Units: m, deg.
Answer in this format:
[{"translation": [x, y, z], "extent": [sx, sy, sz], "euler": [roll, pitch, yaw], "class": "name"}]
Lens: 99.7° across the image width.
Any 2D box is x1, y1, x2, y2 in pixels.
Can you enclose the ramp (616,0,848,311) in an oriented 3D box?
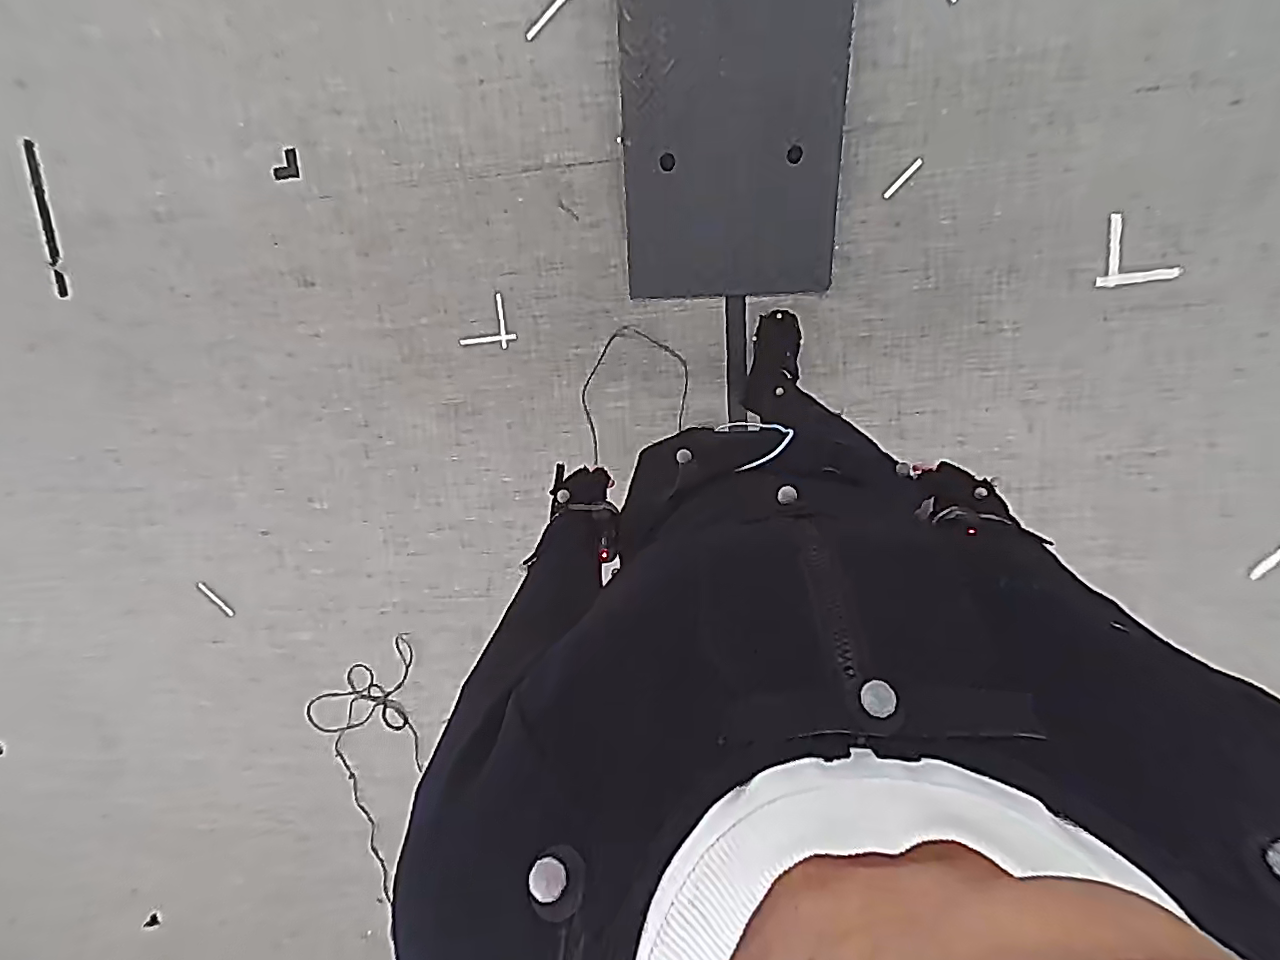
[{"translation": [0.199, -0.906, 1.184], "extent": [0.509, 0.206, 0.991], "euler": [-4, 101, 6], "class": "ramp"}]
